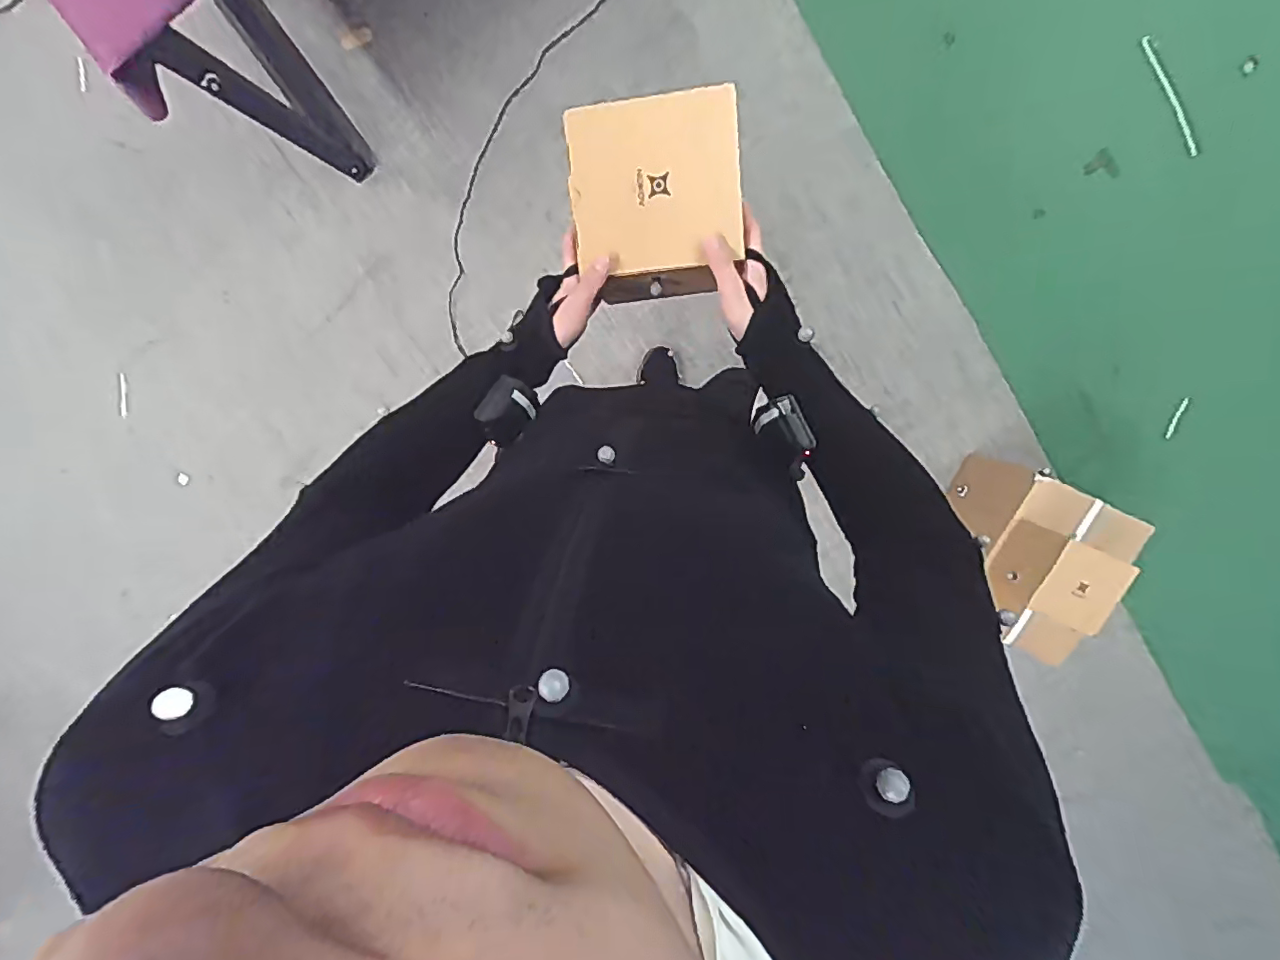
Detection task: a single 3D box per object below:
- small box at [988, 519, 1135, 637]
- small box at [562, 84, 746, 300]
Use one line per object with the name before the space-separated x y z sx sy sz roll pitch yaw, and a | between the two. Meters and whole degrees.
small box | 0.931 0.214 1.219 0.168 0.176 0.179 25 102 -2
small box | 0.023 -0.309 0.619 0.179 0.176 0.168 -4 100 9
